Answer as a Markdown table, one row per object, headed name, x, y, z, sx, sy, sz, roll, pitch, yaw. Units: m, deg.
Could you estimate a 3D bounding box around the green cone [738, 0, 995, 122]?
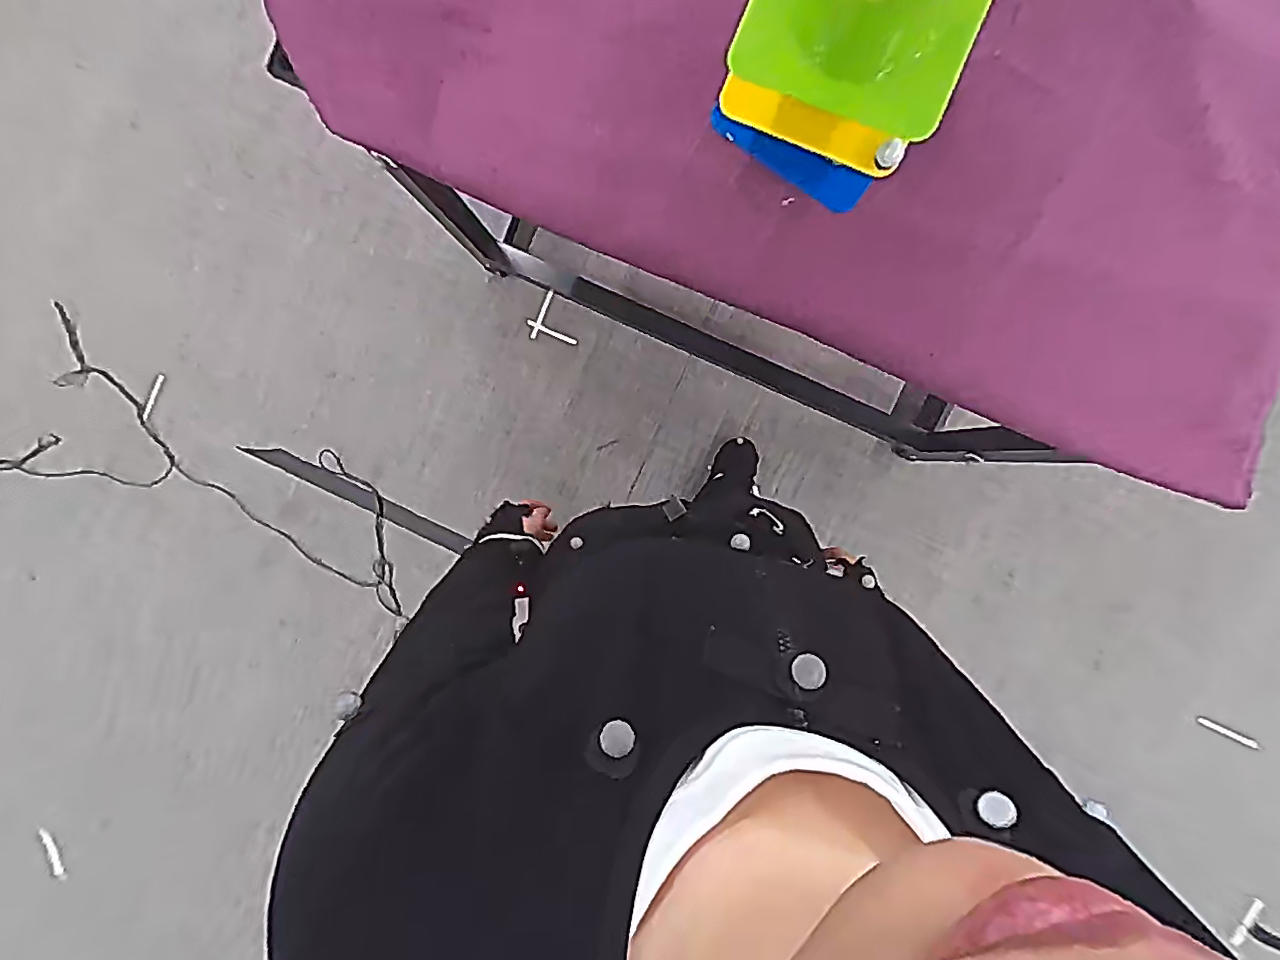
| name | x | y | z | sx | sy | sz | roll | pitch | yaw |
| --- | --- | --- | --- | --- | --- | --- | --- | --- | --- |
| green cone | 0.195 | -0.434 | 0.305 | 0.200 | 0.368 | 0.202 | 22 | 92 | 4 |
